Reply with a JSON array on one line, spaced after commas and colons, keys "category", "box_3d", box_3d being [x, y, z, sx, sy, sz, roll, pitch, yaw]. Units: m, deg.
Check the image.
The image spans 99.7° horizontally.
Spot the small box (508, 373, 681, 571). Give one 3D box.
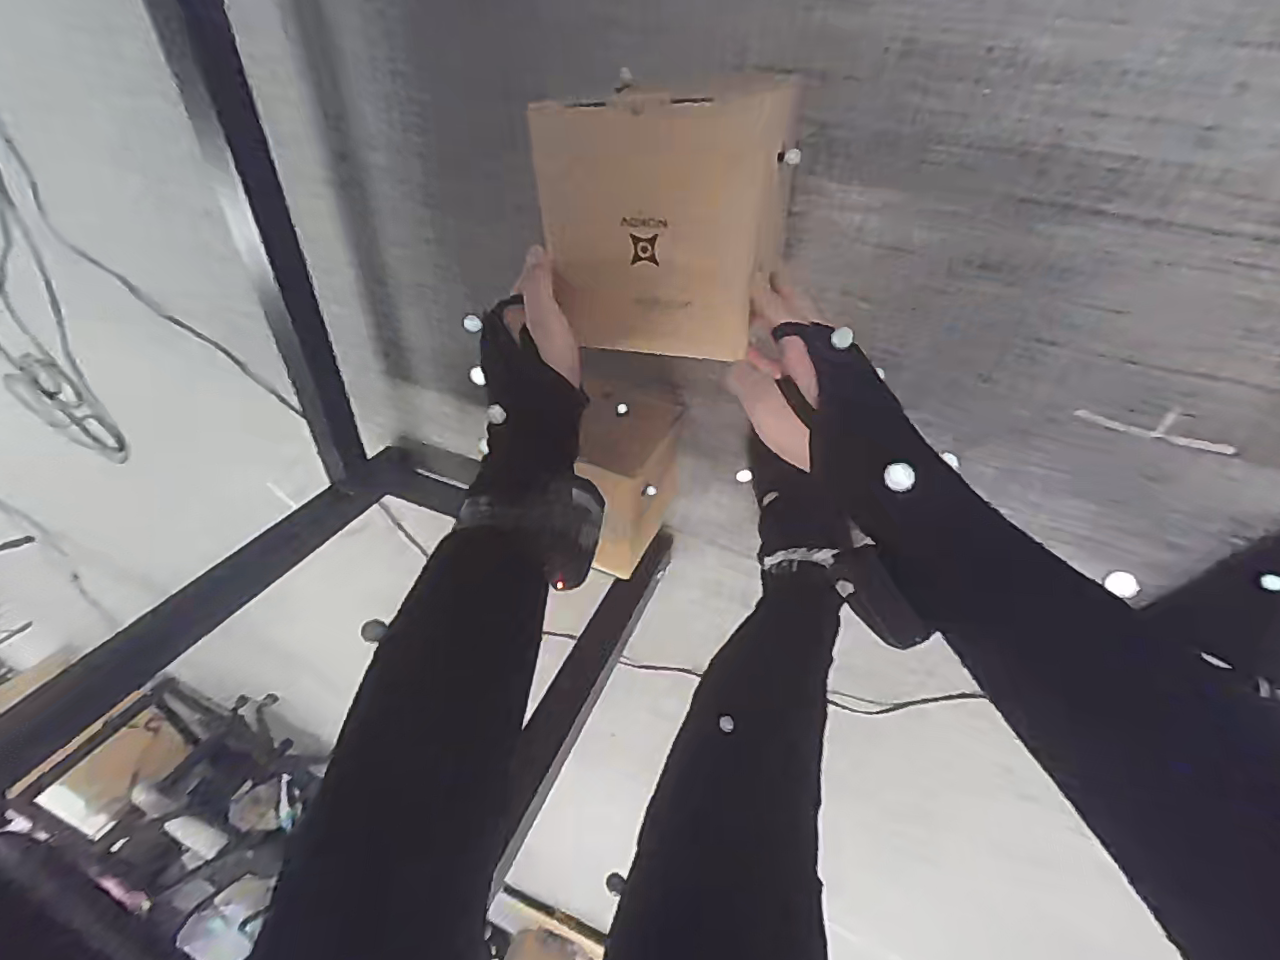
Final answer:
[{"category": "small box", "box_3d": [-0.053, -0.017, 0.724, 0.168, 0.176, 0.179, 18, 131, 17]}]
